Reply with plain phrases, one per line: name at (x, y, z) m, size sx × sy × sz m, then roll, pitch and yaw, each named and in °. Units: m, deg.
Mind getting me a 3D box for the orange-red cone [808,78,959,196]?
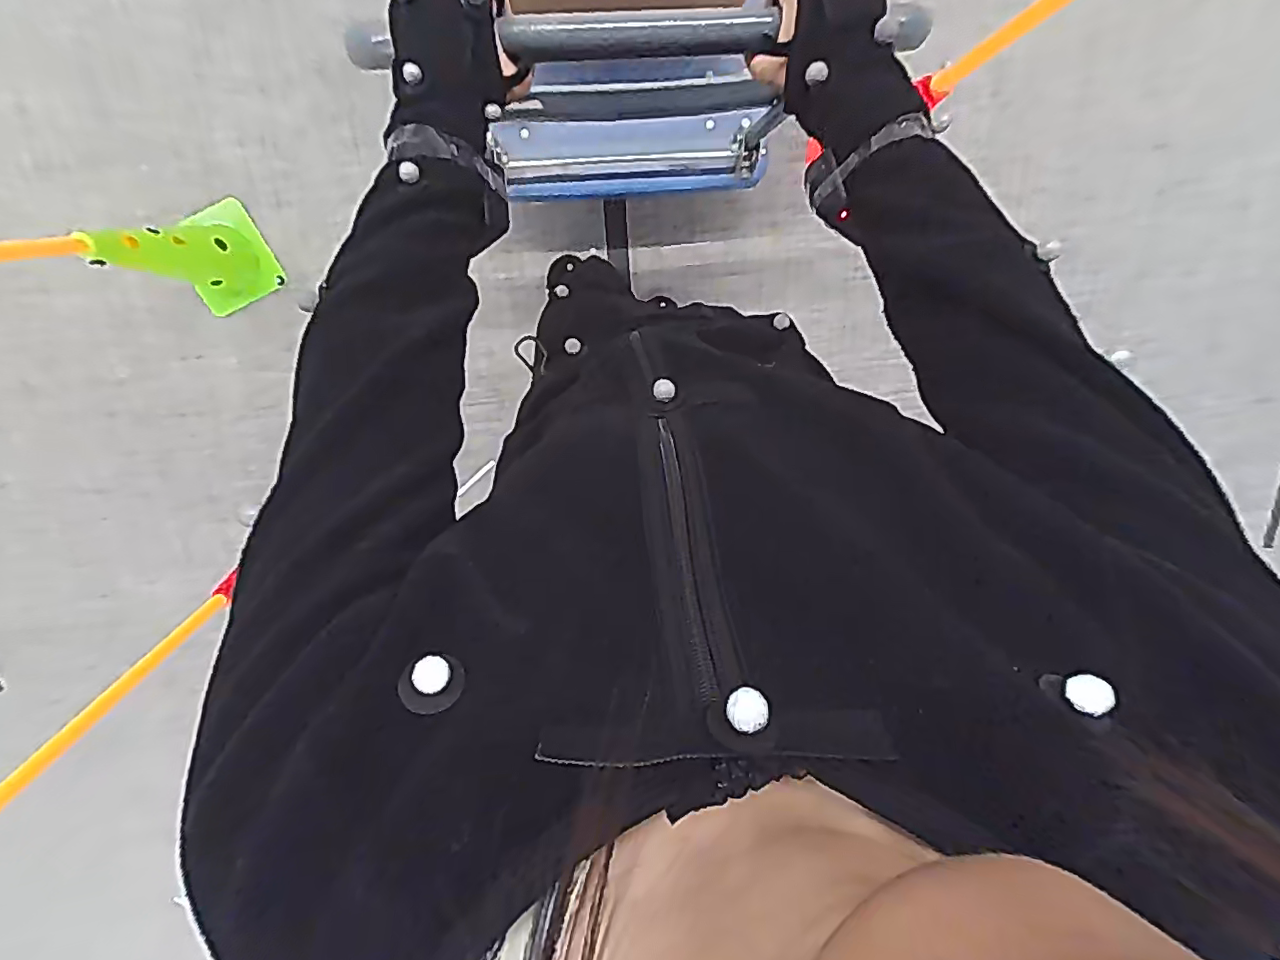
orange-red cone at (0.492, -0.691, 1.043) m, size 0.199 × 0.360 × 0.198 m, roll 1°, pitch 109°, yaw -4°
